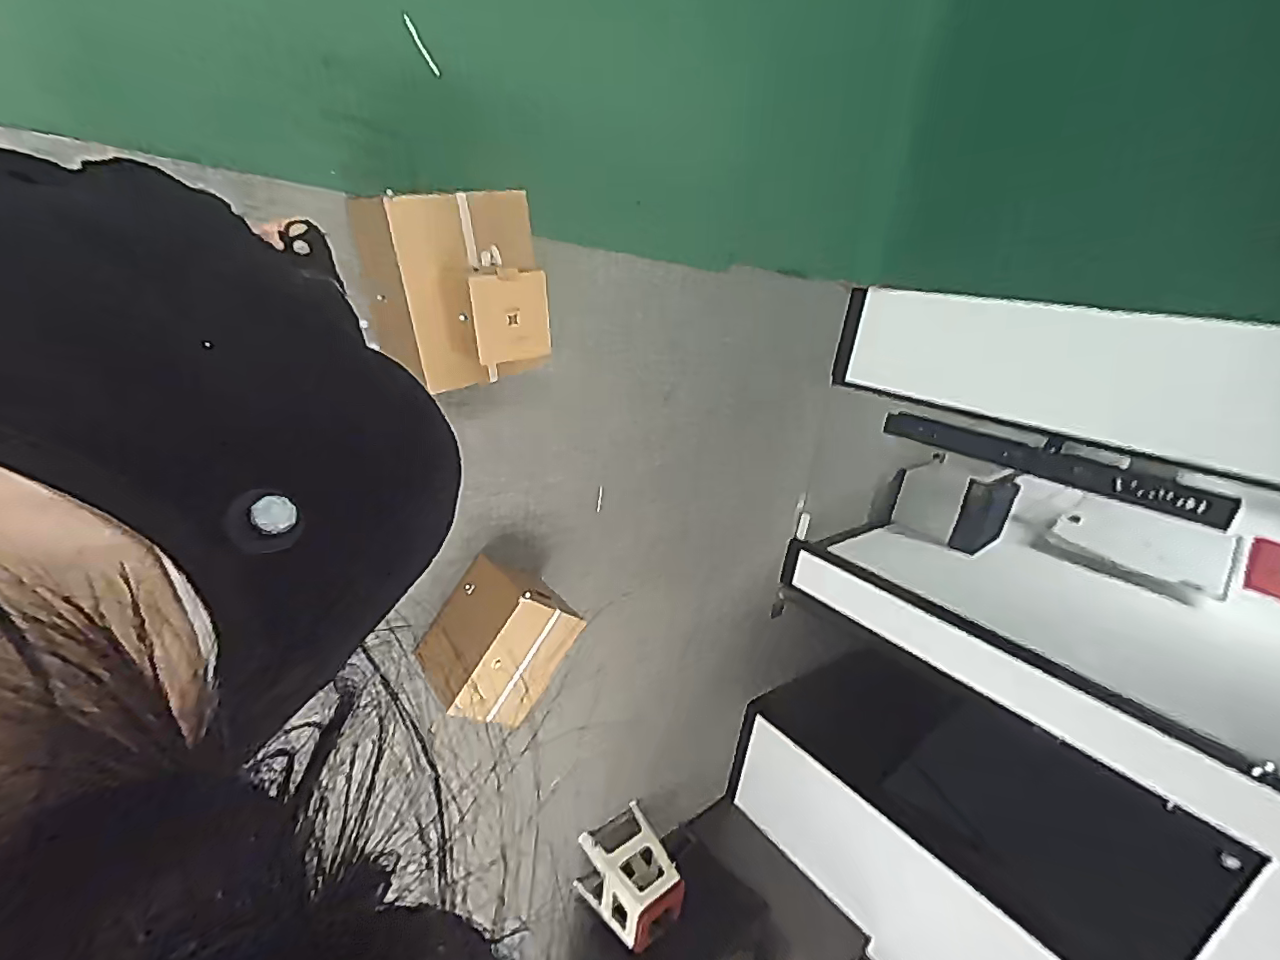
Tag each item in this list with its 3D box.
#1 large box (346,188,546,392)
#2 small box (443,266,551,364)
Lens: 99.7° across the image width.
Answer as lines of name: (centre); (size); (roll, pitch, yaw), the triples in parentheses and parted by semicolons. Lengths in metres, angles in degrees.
large box: (-0.461, -0.468, 1.312); (0.320, 0.320, 0.408); (-23, 123, -33)
small box: (-0.306, -0.359, 1.153); (0.168, 0.176, 0.179); (-18, 122, -33)
